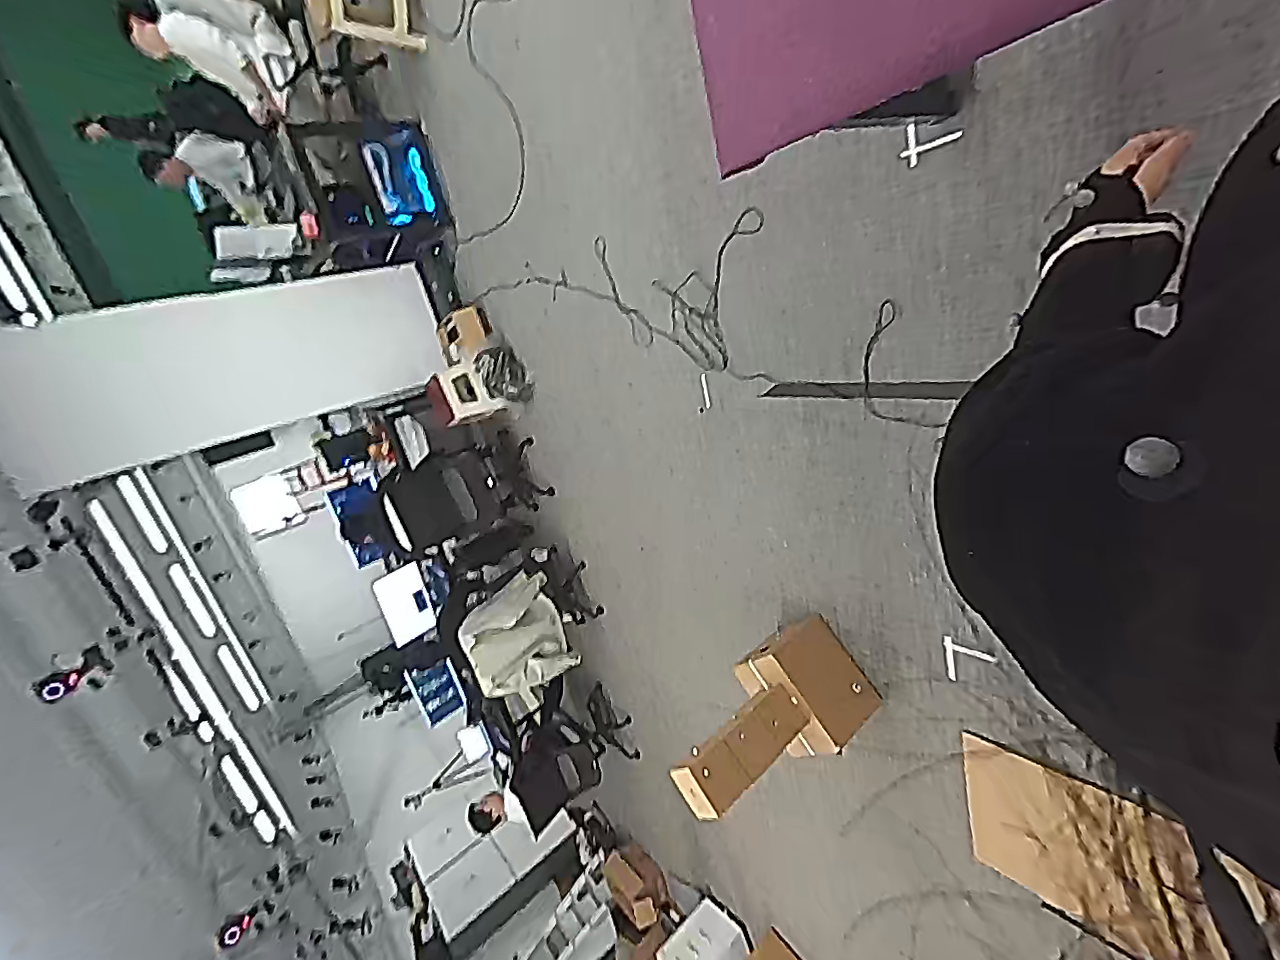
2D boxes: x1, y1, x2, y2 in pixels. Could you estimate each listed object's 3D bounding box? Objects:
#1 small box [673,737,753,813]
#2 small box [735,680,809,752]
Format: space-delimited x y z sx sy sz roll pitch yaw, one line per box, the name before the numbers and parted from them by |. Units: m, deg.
small box | 0.249 1.008 1.857 0.179 0.176 0.168 55 147 15
small box | 0.499 0.888 2.034 0.179 0.176 0.168 55 146 16
